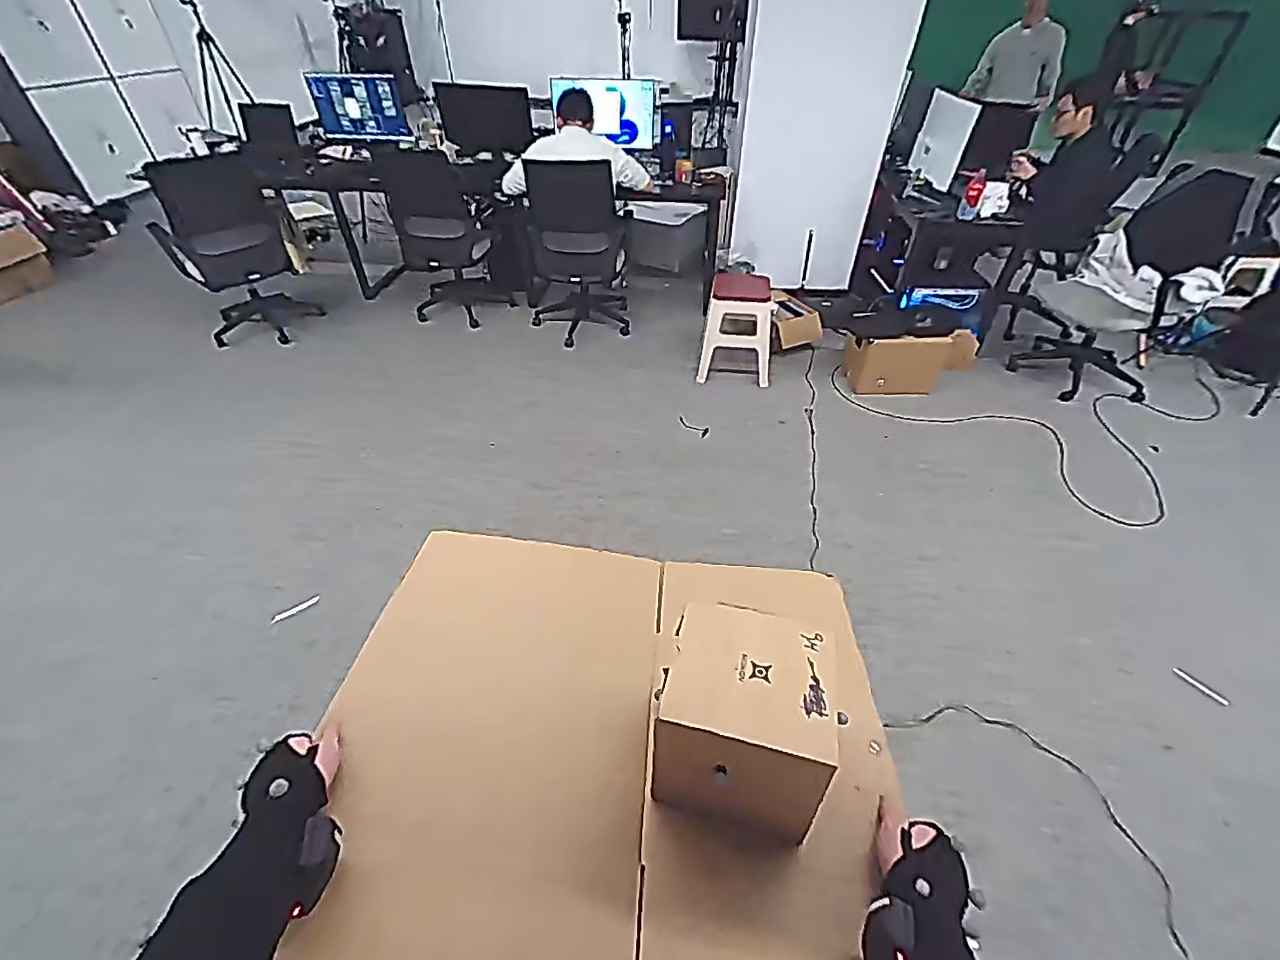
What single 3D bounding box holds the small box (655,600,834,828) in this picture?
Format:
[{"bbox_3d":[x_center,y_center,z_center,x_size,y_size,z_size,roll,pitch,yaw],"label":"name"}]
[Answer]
[{"bbox_3d":[0.120,0.270,0.630,0.179,0.176,0.168,9,37,12],"label":"small box"}]
